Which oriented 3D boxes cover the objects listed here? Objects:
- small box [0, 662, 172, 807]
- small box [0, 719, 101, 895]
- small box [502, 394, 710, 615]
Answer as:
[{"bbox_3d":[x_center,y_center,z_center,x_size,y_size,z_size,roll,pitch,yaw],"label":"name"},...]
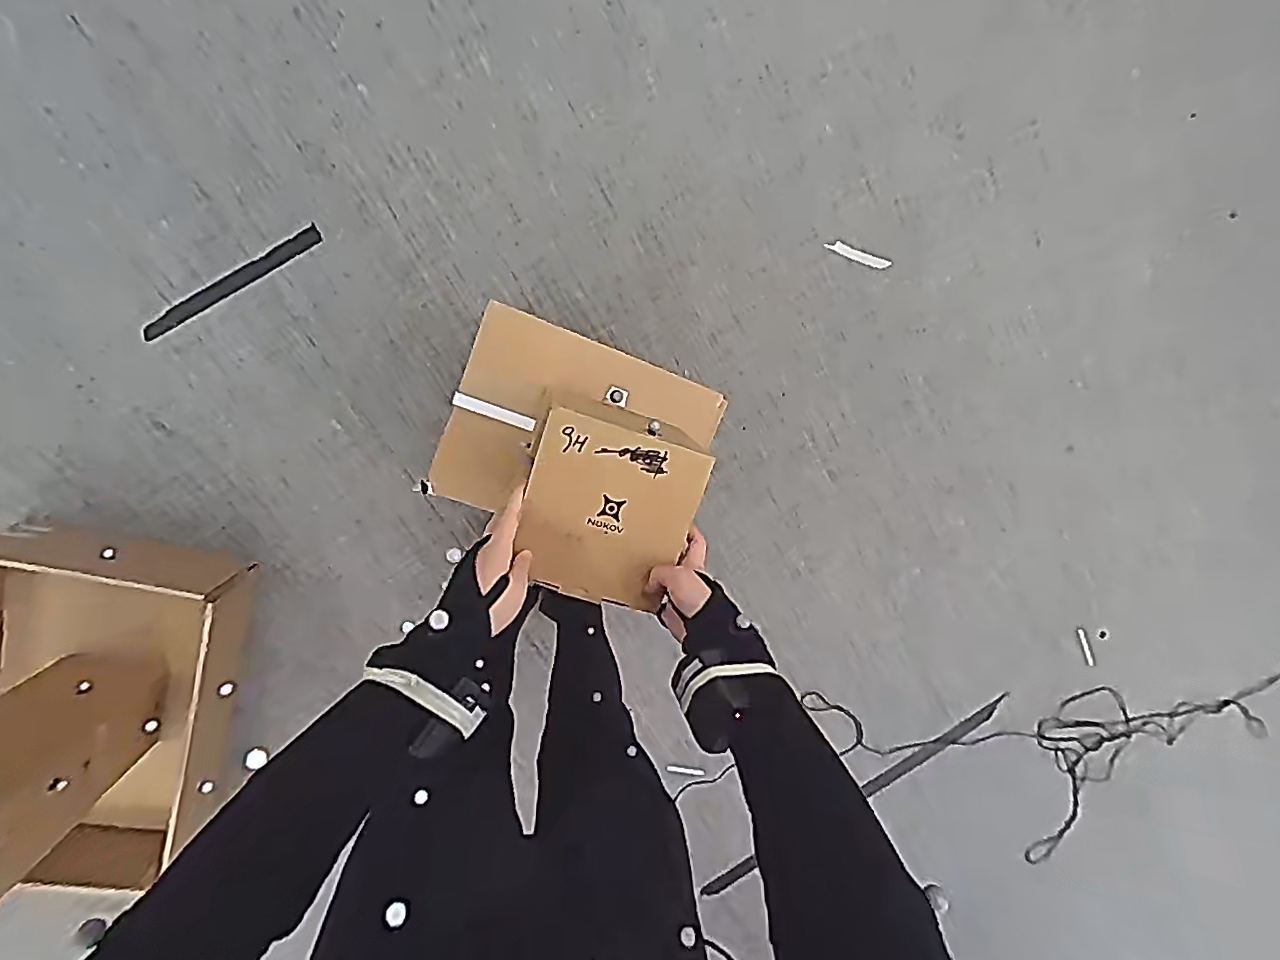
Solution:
[{"bbox_3d":[-1.010,0.451,0.979,0.179,0.176,0.168,14,99,-14],"label":"small box"},{"bbox_3d":[-0.984,0.489,0.824,0.179,0.176,0.168,10,99,-12],"label":"small box"},{"bbox_3d":[-0.042,0.017,0.604,0.168,0.176,0.179,17,103,-11],"label":"small box"}]
